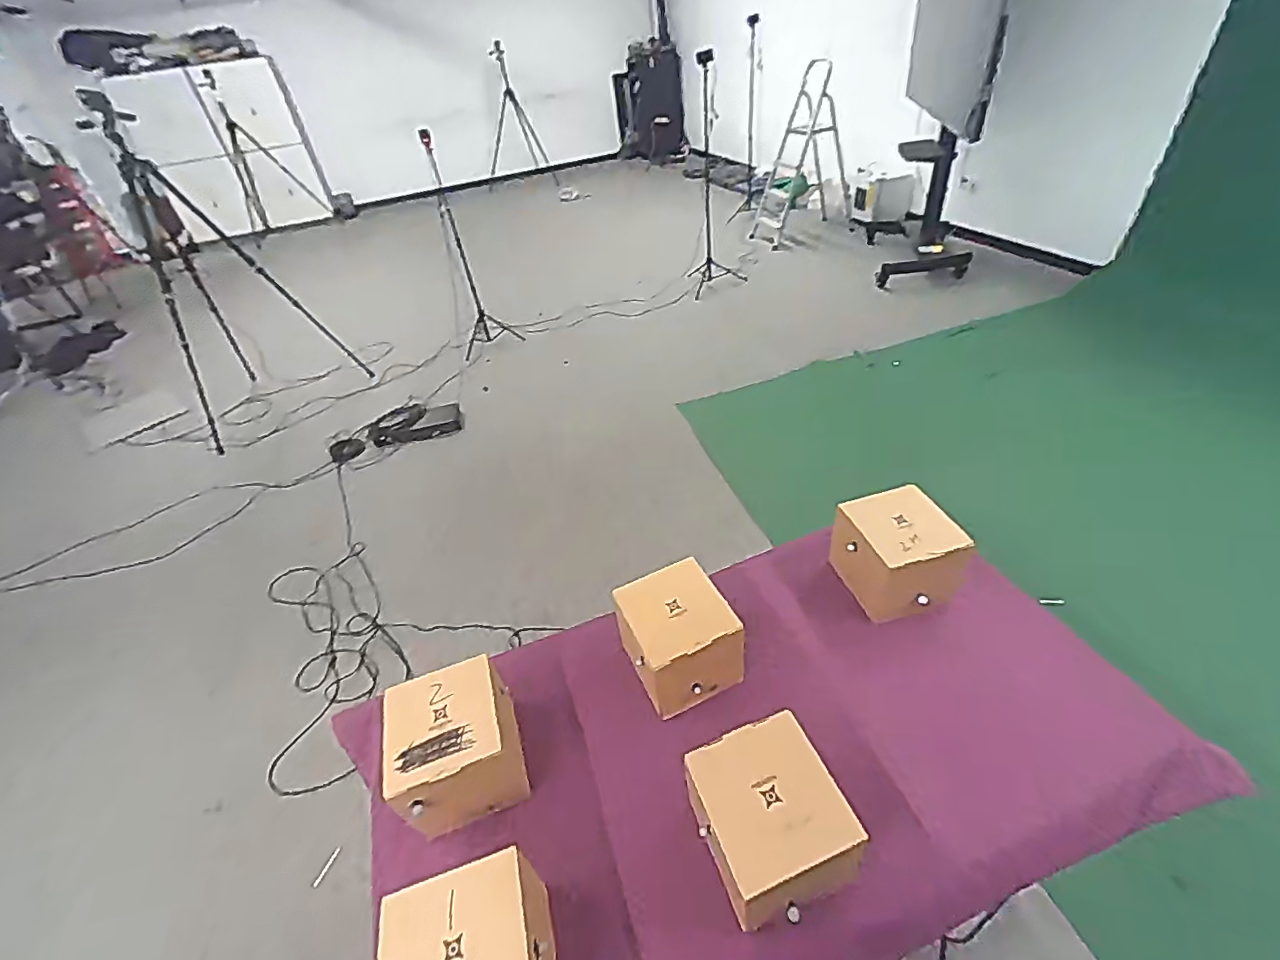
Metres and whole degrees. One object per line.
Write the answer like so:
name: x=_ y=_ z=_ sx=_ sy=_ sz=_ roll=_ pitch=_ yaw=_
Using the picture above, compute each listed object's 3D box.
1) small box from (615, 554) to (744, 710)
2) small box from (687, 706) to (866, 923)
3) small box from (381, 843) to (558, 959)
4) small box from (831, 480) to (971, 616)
small box: x=0.068 y=0.270 z=0.967 sx=0.168 sy=0.176 sz=0.179 roll=-21 pitch=43 yaw=-15
small box: x=0.174 y=0.452 z=0.736 sx=0.168 sy=0.176 sz=0.179 roll=-19 pitch=41 yaw=-10
small box: x=-0.192 y=0.582 z=0.644 sx=0.168 sy=0.176 sz=0.179 roll=-16 pitch=40 yaw=-10
small box: x=0.490 y=0.132 z=1.049 sx=0.168 sy=0.176 sz=0.179 roll=-15 pitch=42 yaw=-6
